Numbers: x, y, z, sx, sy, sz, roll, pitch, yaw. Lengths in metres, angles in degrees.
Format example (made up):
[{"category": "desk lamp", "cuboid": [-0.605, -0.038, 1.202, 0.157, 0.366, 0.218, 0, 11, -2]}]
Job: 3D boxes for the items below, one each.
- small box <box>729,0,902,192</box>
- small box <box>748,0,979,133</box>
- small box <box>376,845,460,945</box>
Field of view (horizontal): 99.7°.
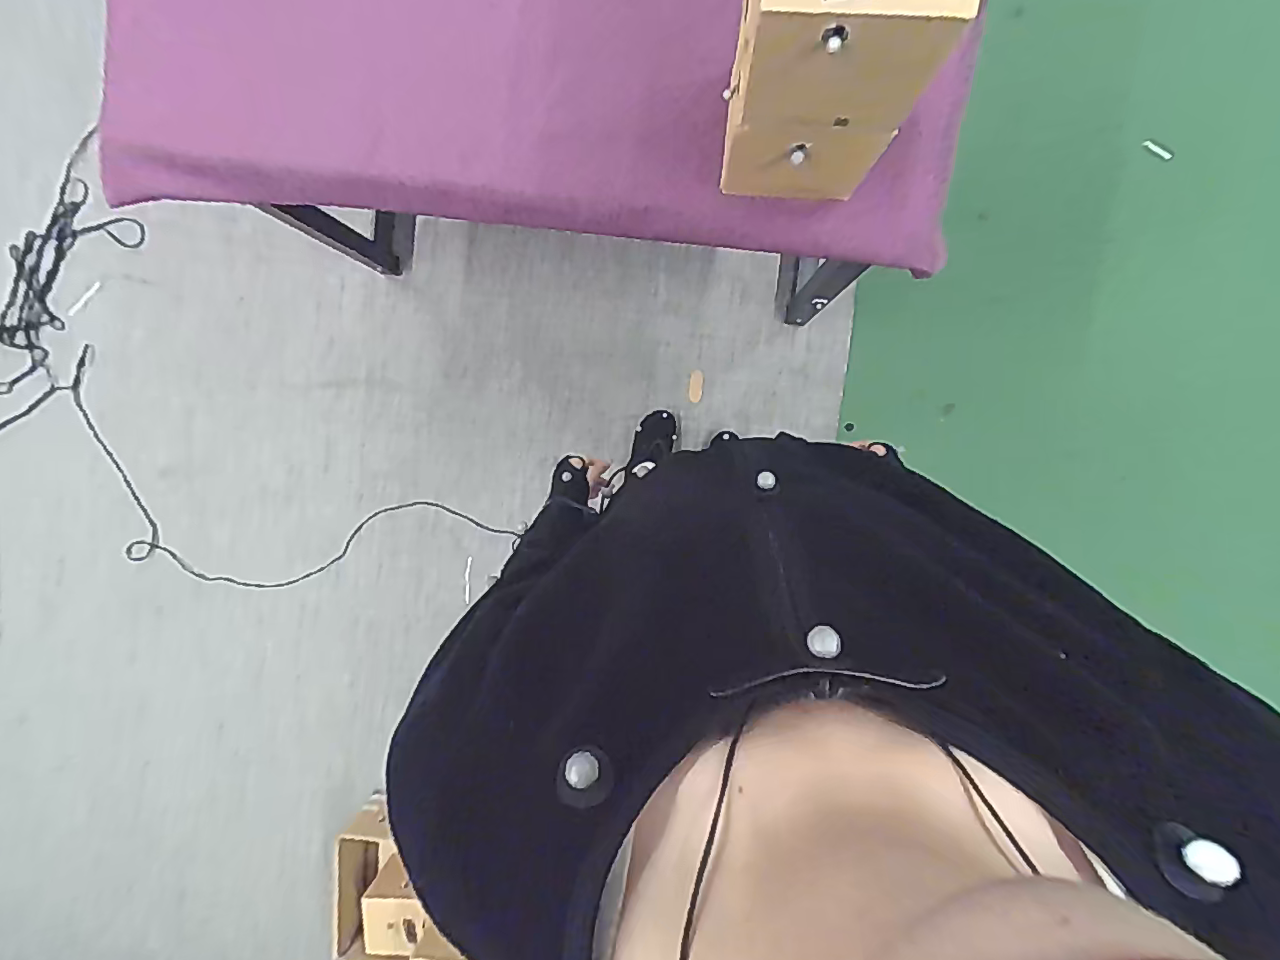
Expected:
[{"category": "small box", "cuboid": [0.207, -0.466, 0.649, 0.179, 0.176, 0.168, 6, 97, 6]}, {"category": "small box", "cuboid": [0.192, -0.452, 0.486, 0.168, 0.176, 0.179, 6, 96, 7]}, {"category": "small box", "cuboid": [-0.634, 1.197, 1.569, 0.179, 0.176, 0.168, -2, 94, 6]}]
